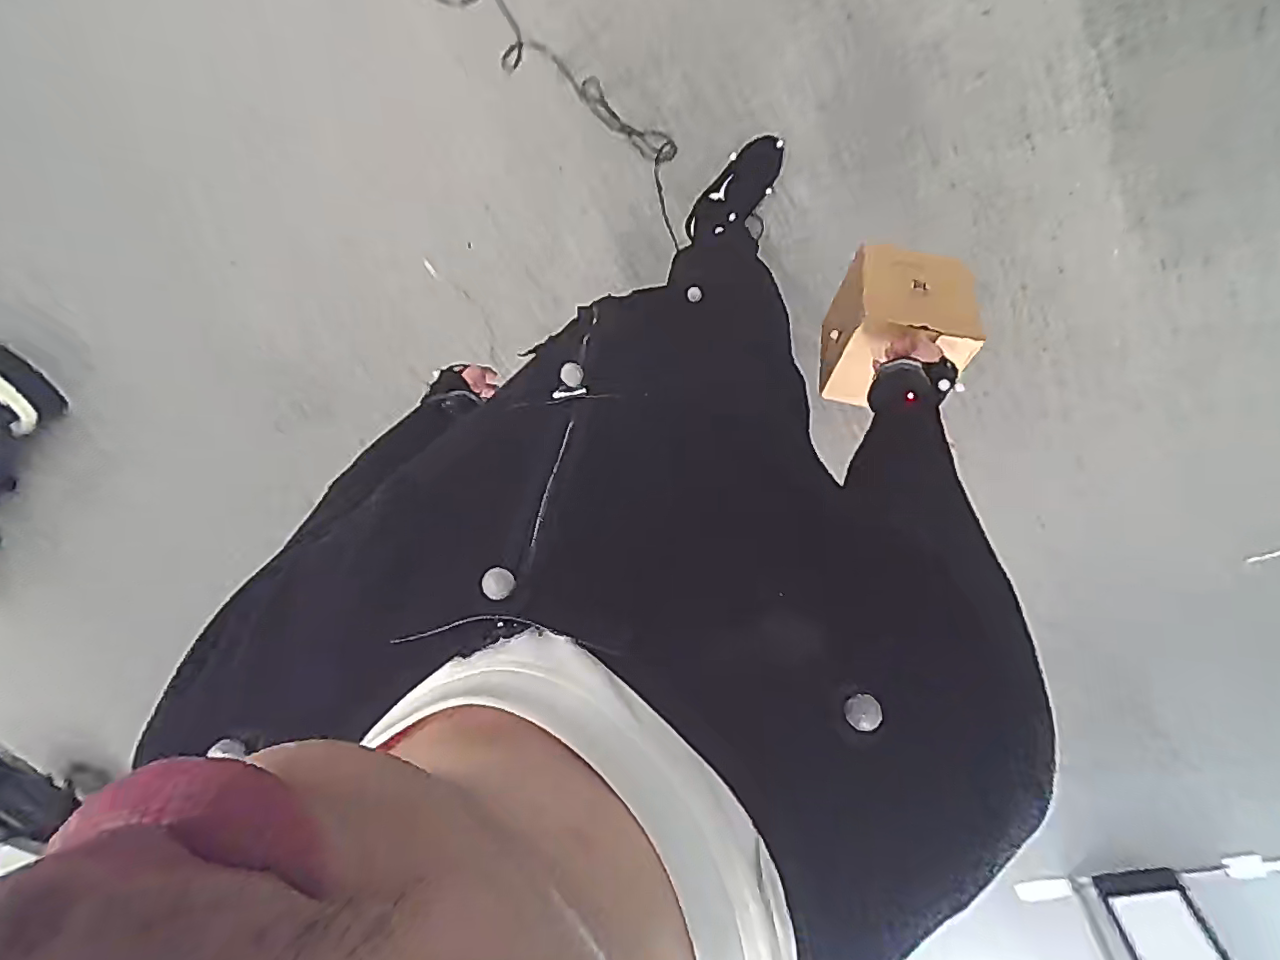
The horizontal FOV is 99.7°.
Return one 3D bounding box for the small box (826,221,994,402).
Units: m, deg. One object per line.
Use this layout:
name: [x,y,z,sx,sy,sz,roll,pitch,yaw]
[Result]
small box: [0.390,-0.242,0.805,0.168,0.179,0.176,15,152,2]
